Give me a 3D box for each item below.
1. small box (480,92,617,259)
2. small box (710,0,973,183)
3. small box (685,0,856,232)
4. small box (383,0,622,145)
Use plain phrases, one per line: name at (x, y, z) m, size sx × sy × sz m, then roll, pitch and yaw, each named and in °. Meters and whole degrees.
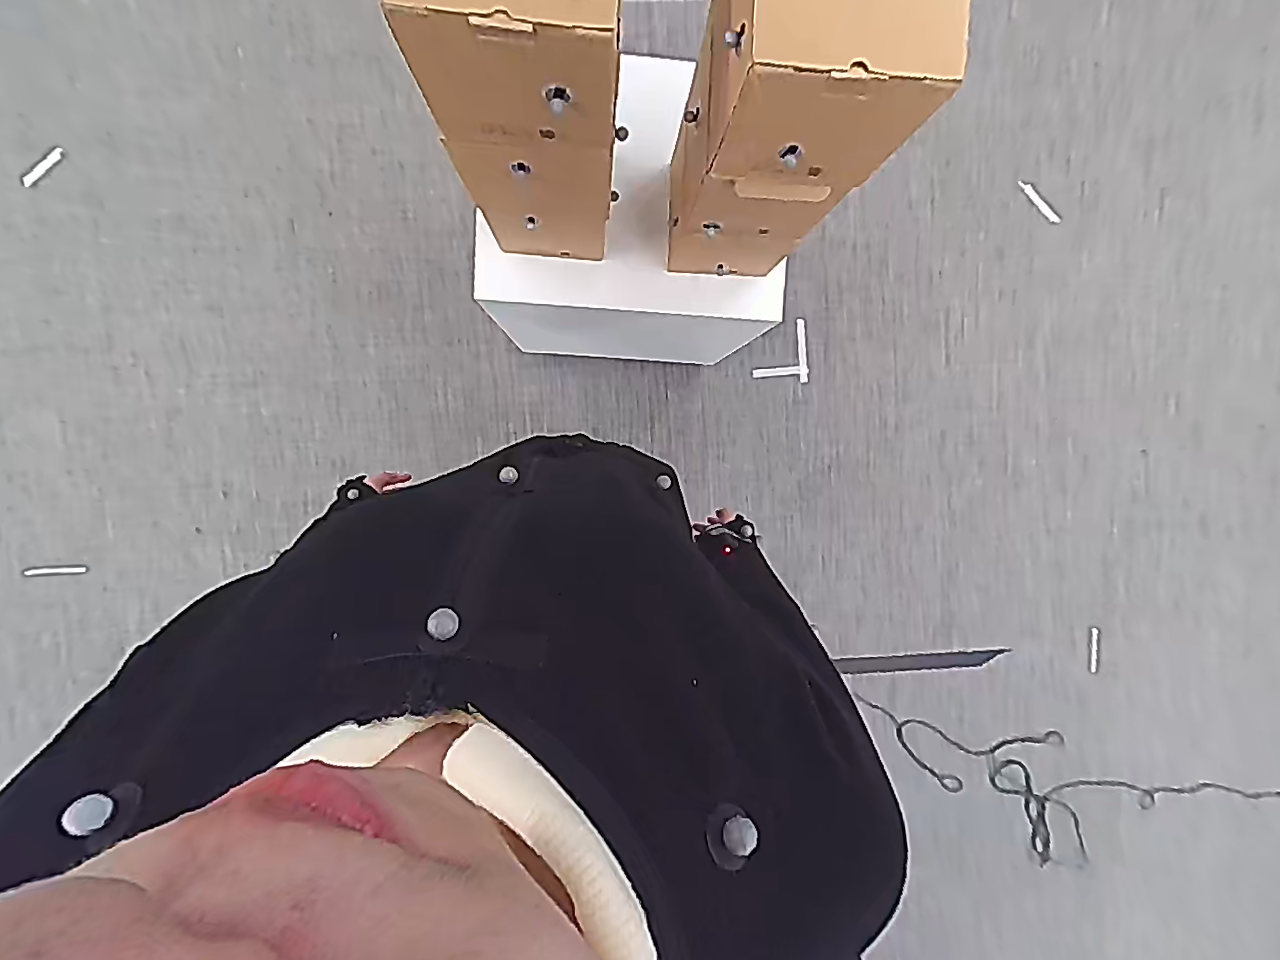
small box at (-0.124, -0.440, 0.776) m, size 0.168 × 0.176 × 0.179 m, roll 4°, pitch 94°, yaw -4°
small box at (0.159, -0.393, 0.472) m, size 0.168 × 0.176 × 0.179 m, roll 1°, pitch 96°, yaw -4°
small box at (0.147, -0.409, 0.633) m, size 0.168 × 0.176 × 0.179 m, roll 1°, pitch 94°, yaw -4°
small box at (-0.098, -0.414, 0.450) m, size 0.168 × 0.176 × 0.179 m, roll 3°, pitch 94°, yaw -6°
